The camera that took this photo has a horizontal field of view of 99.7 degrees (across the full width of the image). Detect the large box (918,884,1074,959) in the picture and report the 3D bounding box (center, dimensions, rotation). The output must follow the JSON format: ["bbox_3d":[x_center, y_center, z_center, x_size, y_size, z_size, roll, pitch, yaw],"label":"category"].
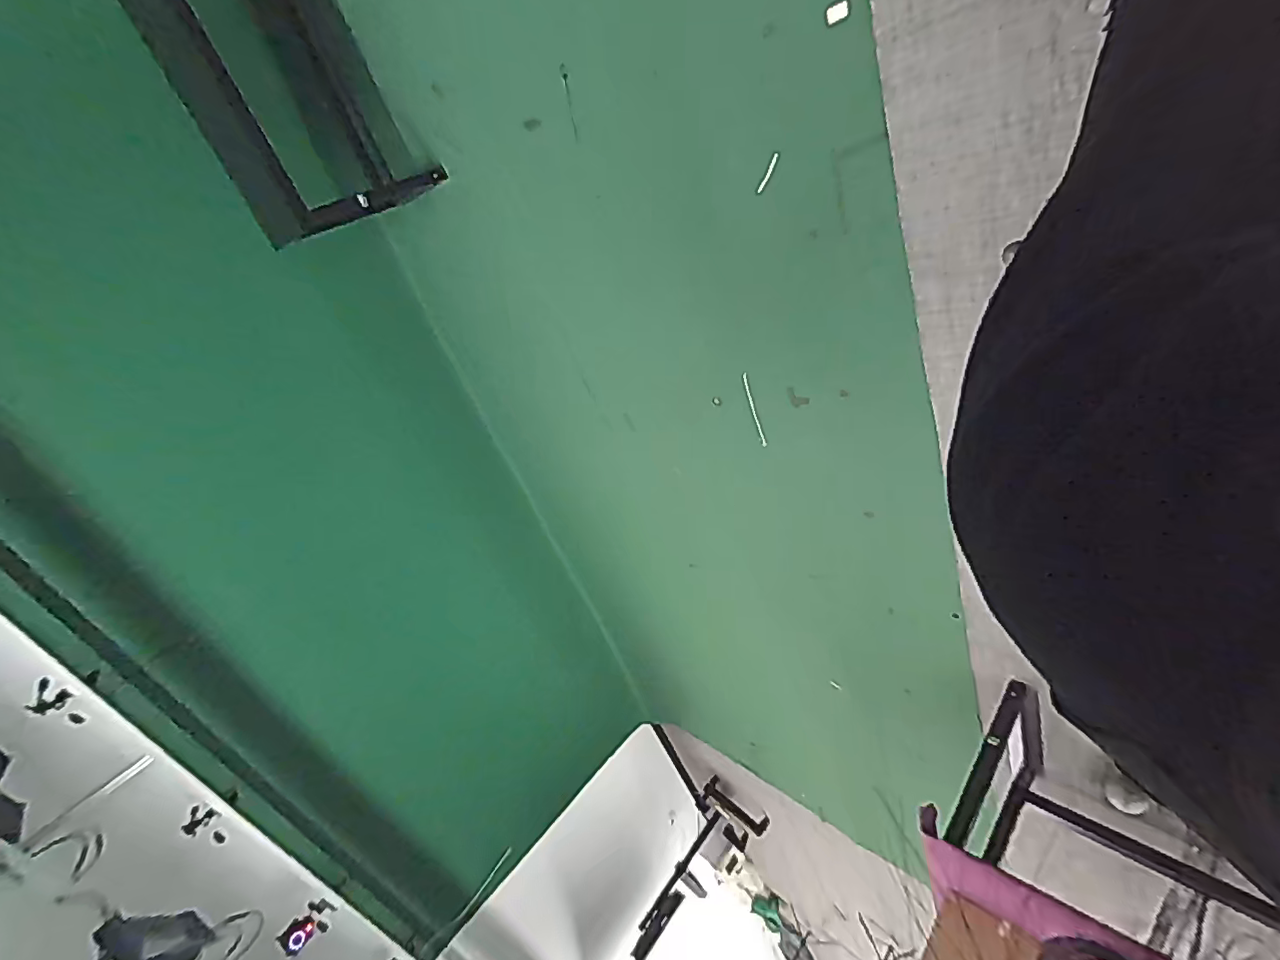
[{"bbox_3d":[0.998,1.464,1.511,0.320,0.320,0.408,7,128,47],"label":"large box"}]
